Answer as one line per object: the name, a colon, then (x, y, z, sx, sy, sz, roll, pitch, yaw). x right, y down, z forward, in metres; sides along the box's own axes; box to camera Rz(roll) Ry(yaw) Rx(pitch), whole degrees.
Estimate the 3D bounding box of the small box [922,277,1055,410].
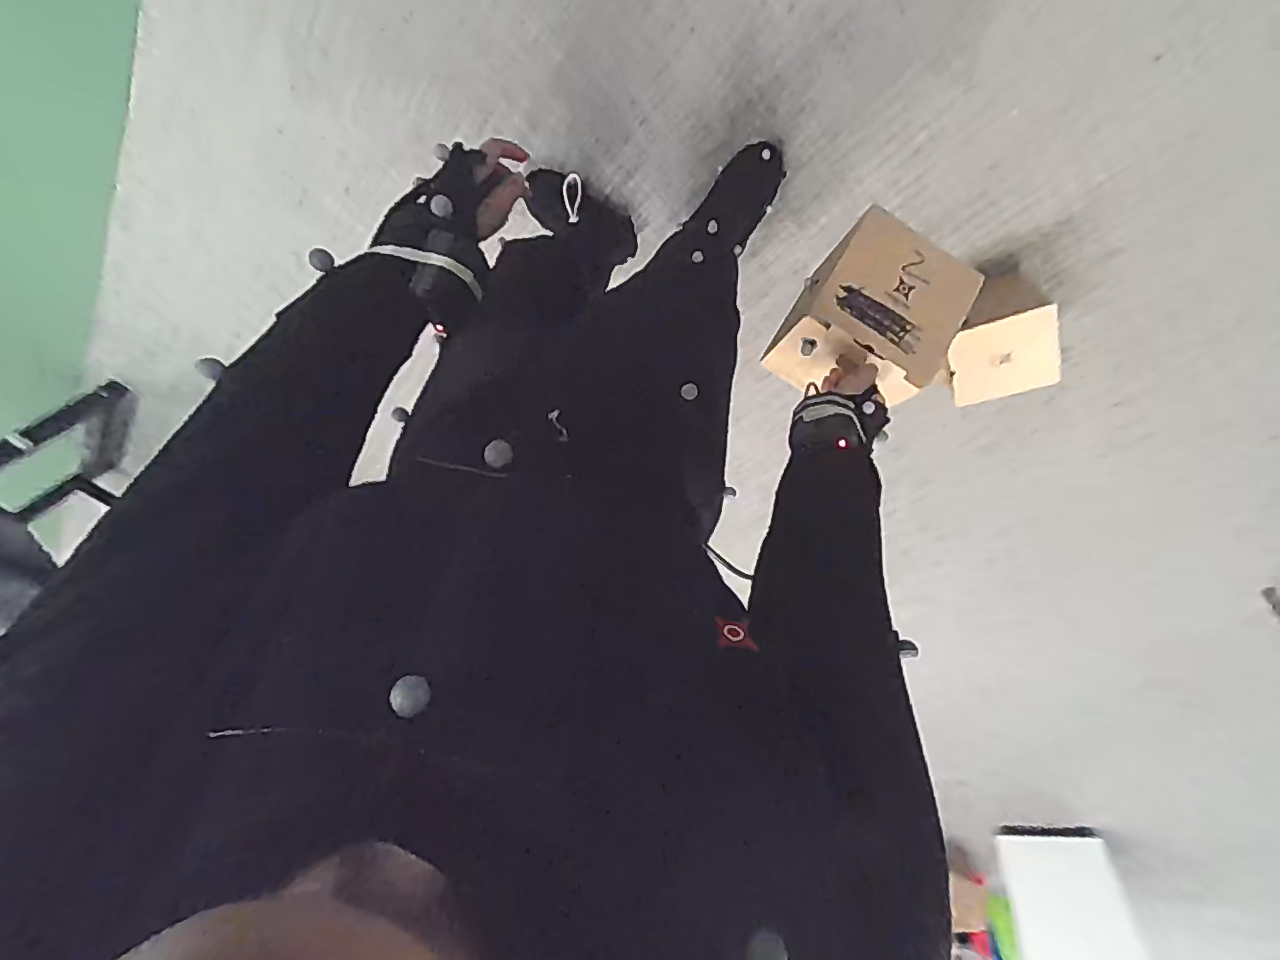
small box: (0.676, -0.270, 1.058, 0.179, 0.176, 0.168, -14, 125, 25)
